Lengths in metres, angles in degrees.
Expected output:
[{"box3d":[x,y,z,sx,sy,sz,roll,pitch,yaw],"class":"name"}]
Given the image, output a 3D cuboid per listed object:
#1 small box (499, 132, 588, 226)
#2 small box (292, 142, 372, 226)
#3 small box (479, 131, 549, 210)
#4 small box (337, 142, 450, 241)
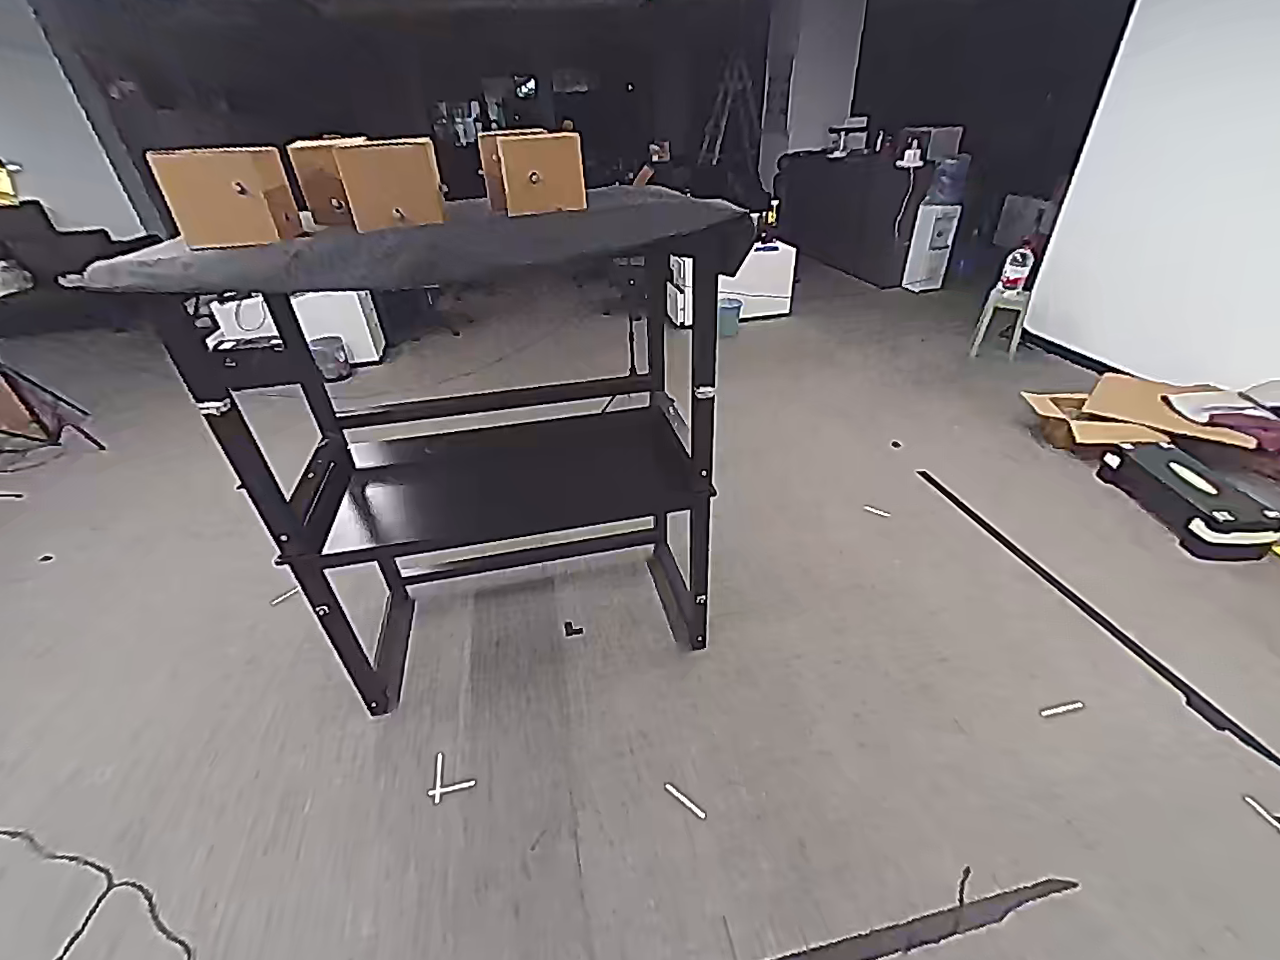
[{"box3d":[-0.218,-0.677,1.221,0.168,0.176,0.179,-10,34,-11],"class":"small box"},{"box3d":[-0.739,-0.746,1.360,0.168,0.176,0.179,-14,36,-14],"class":"small box"},{"box3d":[-0.322,-0.827,1.445,0.179,0.176,0.168,-9,36,-9],"class":"small box"},{"box3d":[-0.518,-0.625,1.168,0.179,0.176,0.168,-9,34,-10],"class":"small box"}]
